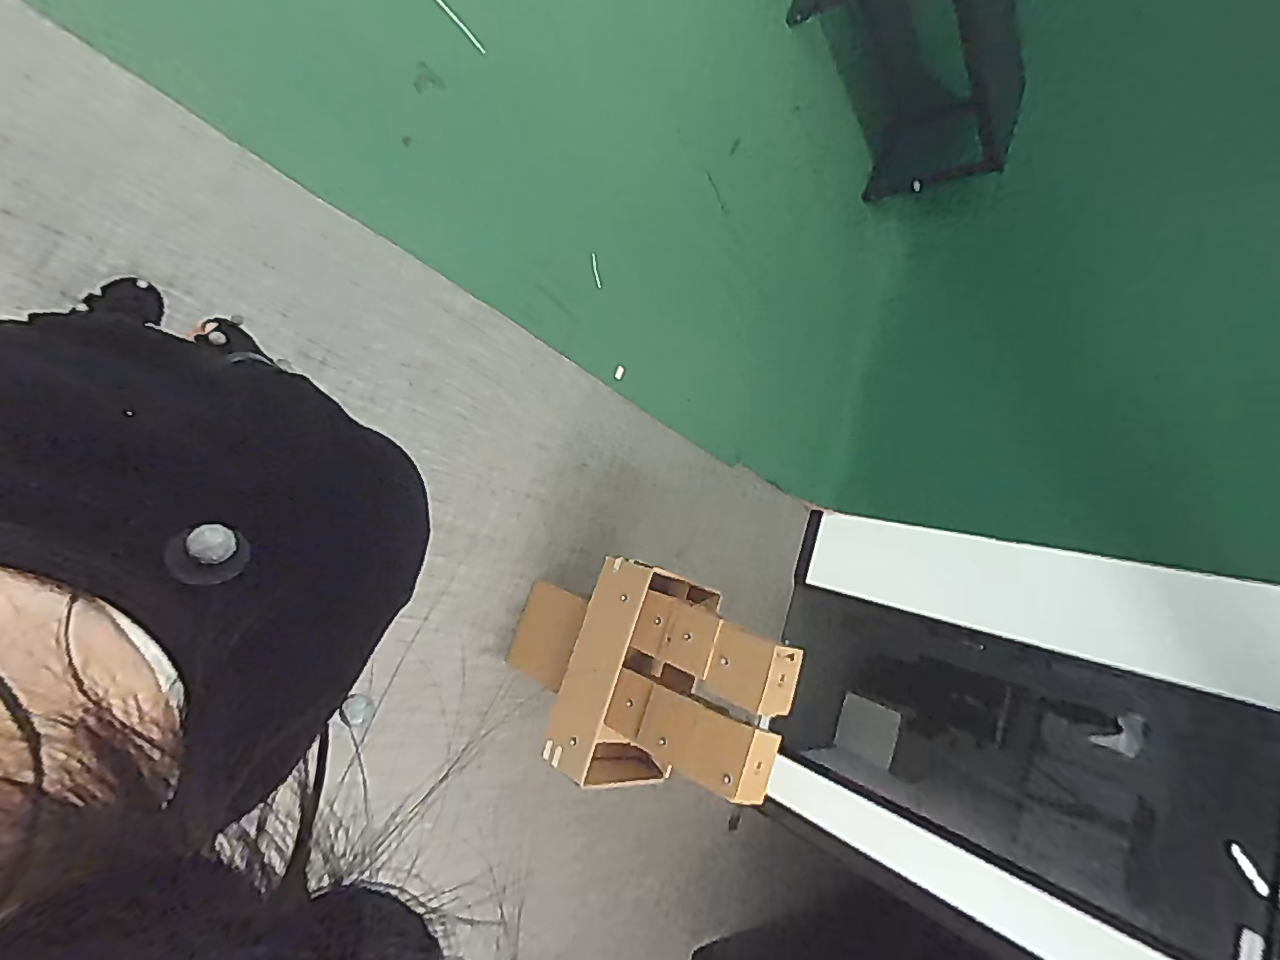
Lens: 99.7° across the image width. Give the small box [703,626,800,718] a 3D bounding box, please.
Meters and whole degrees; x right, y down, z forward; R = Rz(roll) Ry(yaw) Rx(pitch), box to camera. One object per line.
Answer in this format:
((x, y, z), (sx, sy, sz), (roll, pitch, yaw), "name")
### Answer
((0.292, 0.510, 1.436), (0.168, 0.176, 0.179), (26, 80, -45), "small box")
